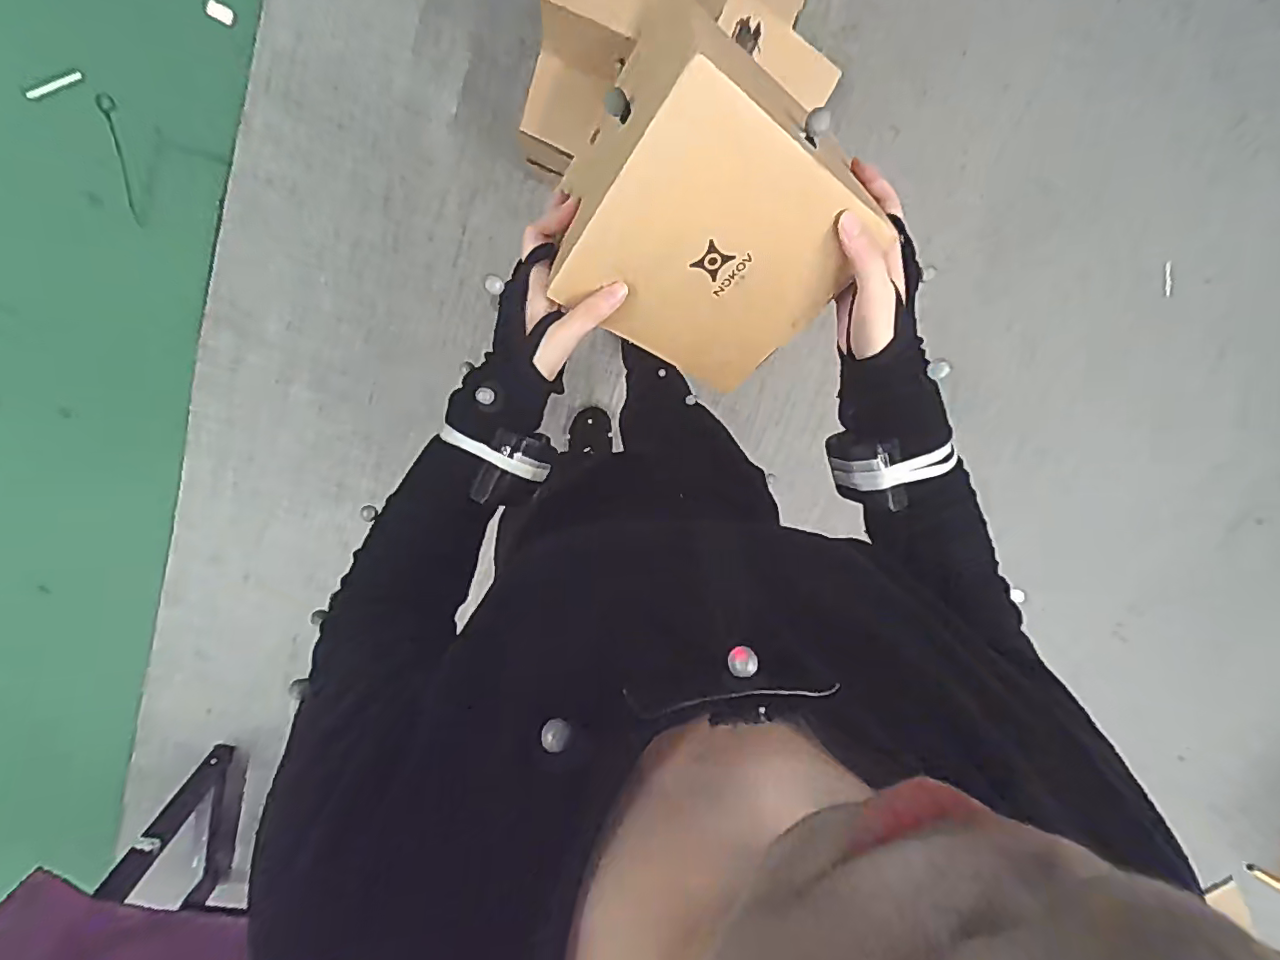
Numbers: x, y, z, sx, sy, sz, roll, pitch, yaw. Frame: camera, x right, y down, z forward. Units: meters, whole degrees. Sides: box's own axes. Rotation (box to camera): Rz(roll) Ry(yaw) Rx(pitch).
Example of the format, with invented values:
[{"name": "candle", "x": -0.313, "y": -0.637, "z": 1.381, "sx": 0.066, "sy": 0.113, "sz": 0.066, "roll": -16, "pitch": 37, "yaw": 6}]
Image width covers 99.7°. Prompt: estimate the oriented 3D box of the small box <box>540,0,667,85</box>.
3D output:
[{"name": "small box", "x": -0.048, "y": -0.771, "z": 0.856, "sx": 0.179, "sy": 0.176, "sz": 0.168, "roll": 18, "pitch": 102, "yaw": -10}]
